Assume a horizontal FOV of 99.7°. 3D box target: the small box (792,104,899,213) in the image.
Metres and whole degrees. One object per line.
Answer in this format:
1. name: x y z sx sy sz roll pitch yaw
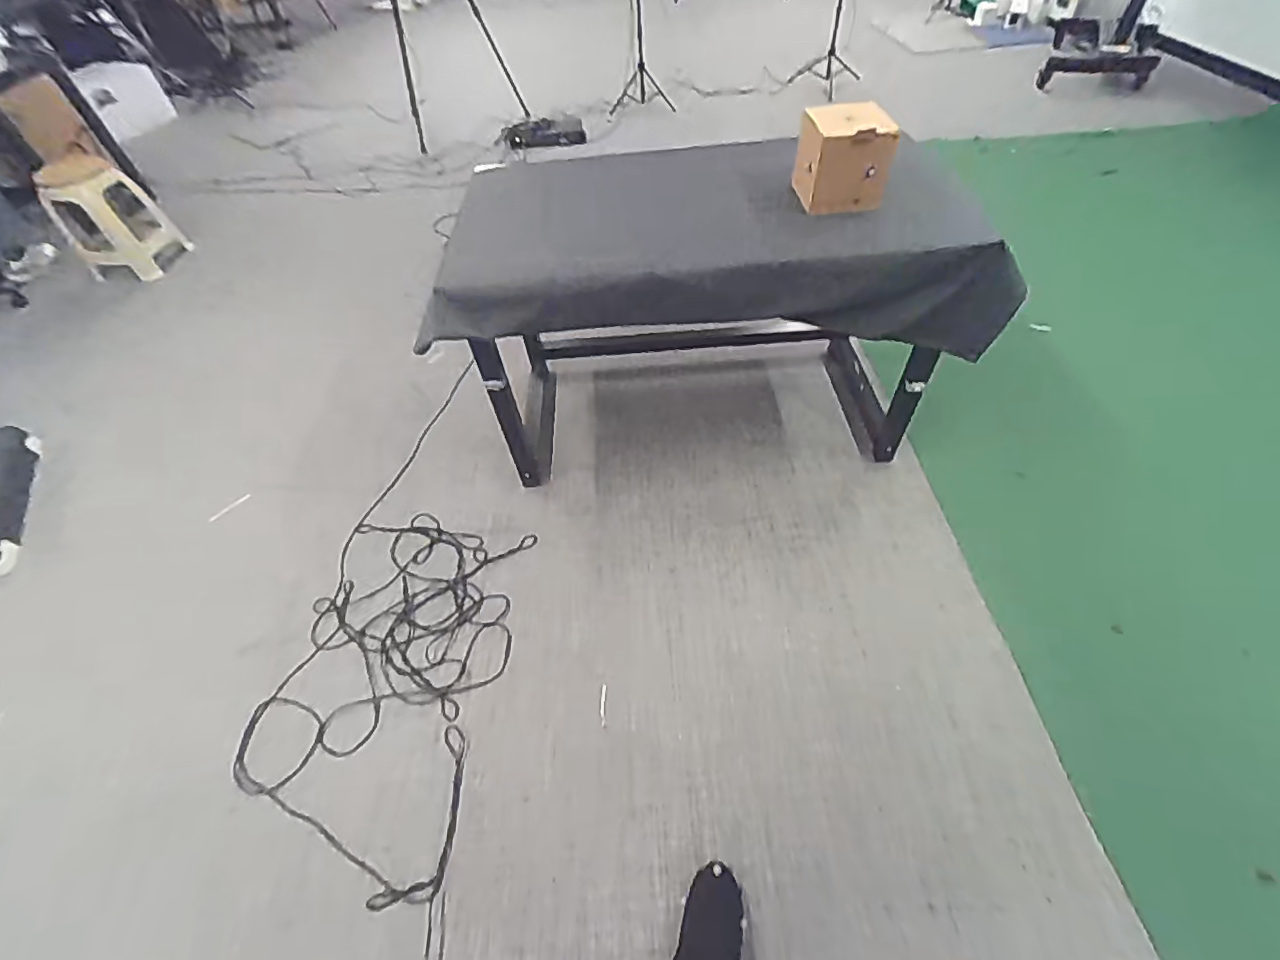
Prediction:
1. small box: 0.456 -0.725 1.231 0.168 0.176 0.179 -5 50 -1
